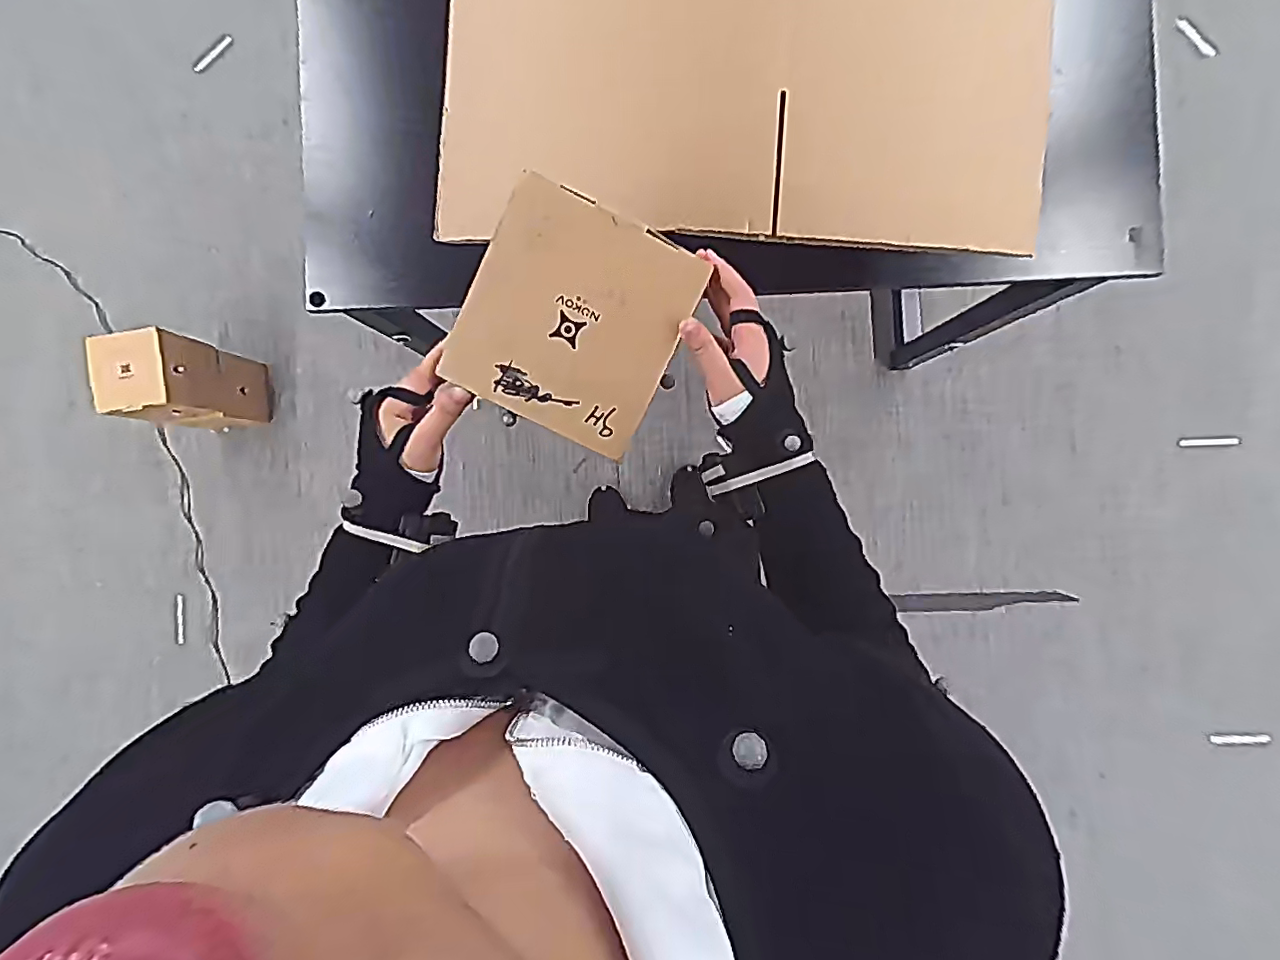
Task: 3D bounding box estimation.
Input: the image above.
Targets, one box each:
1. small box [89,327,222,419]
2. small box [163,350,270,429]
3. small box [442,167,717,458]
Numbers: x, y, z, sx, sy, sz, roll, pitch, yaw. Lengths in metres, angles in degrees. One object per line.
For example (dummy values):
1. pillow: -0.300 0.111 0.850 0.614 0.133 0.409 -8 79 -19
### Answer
1. small box: -1.140 -0.245 1.287 0.168 0.176 0.179 -9 88 1
2. small box: -1.133 -0.237 1.449 0.168 0.176 0.179 -6 90 2
3. small box: -0.051 -0.137 0.505 0.168 0.176 0.179 26 95 -3
